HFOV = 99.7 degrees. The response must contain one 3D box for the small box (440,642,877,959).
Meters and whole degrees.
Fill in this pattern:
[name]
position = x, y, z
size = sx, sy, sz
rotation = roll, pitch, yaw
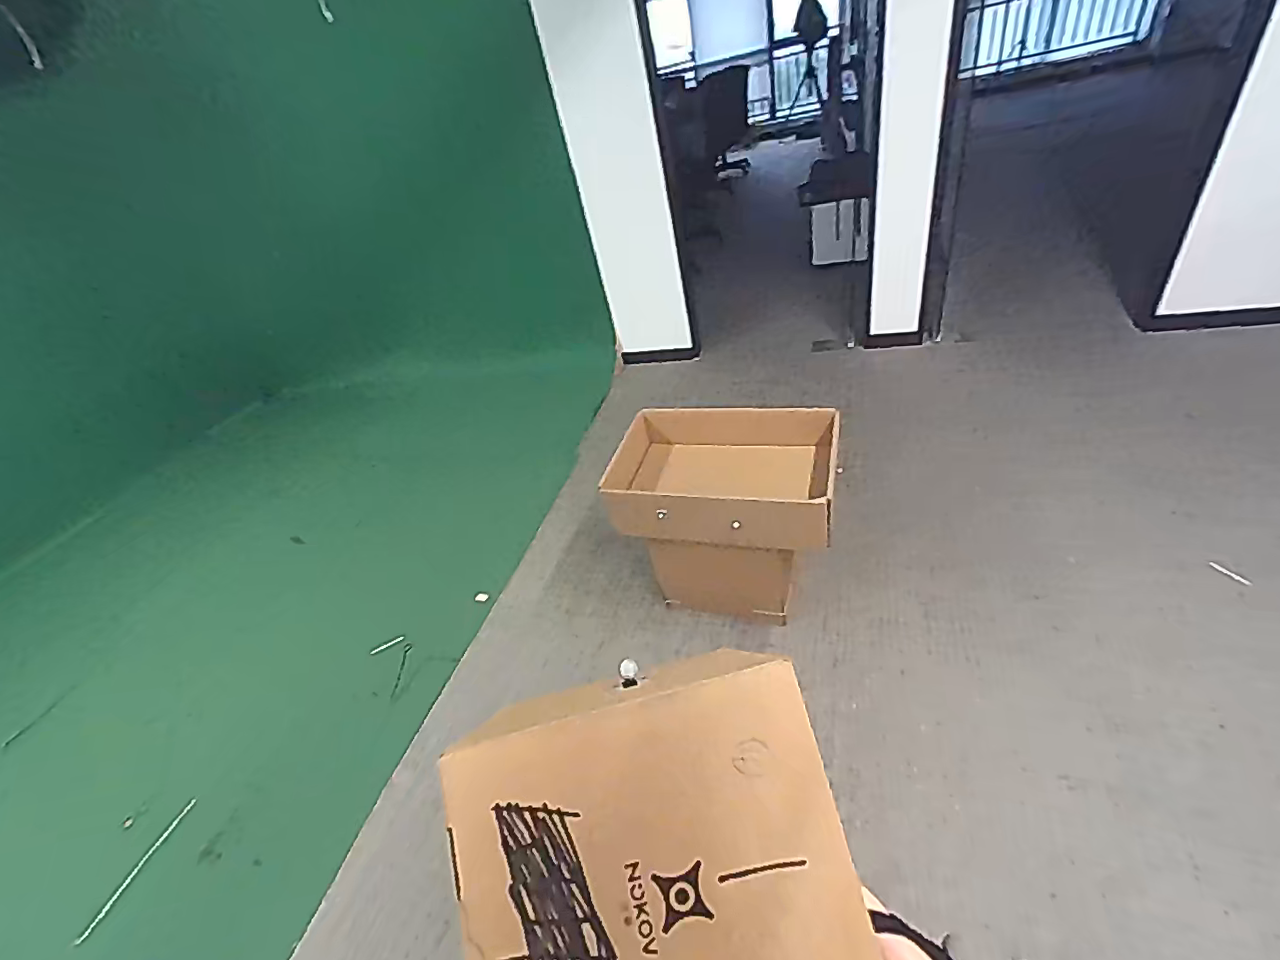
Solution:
[small box]
position = 0.005, 0.200, 0.320
size = 0.179, 0.176, 0.168
rotation = -13, 75, -6
